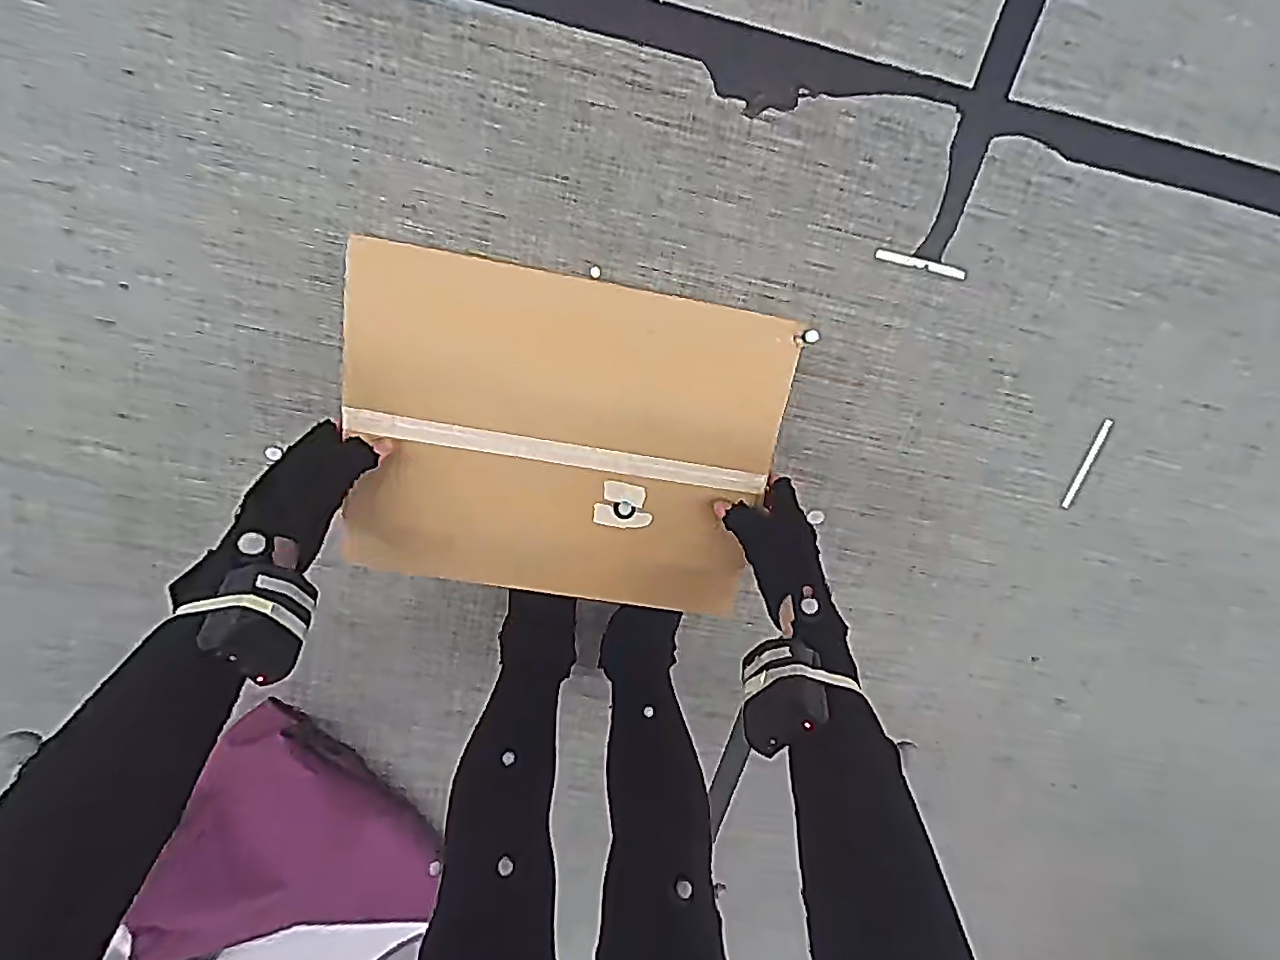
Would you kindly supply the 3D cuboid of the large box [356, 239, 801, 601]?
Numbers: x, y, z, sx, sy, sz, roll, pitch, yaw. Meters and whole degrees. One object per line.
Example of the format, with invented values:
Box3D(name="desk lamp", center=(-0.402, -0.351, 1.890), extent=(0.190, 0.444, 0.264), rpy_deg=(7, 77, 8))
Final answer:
Box3D(name="large box", center=(-0.079, -0.082, 0.664), extent=(0.408, 0.320, 0.320), rpy_deg=(8, 108, -6))
